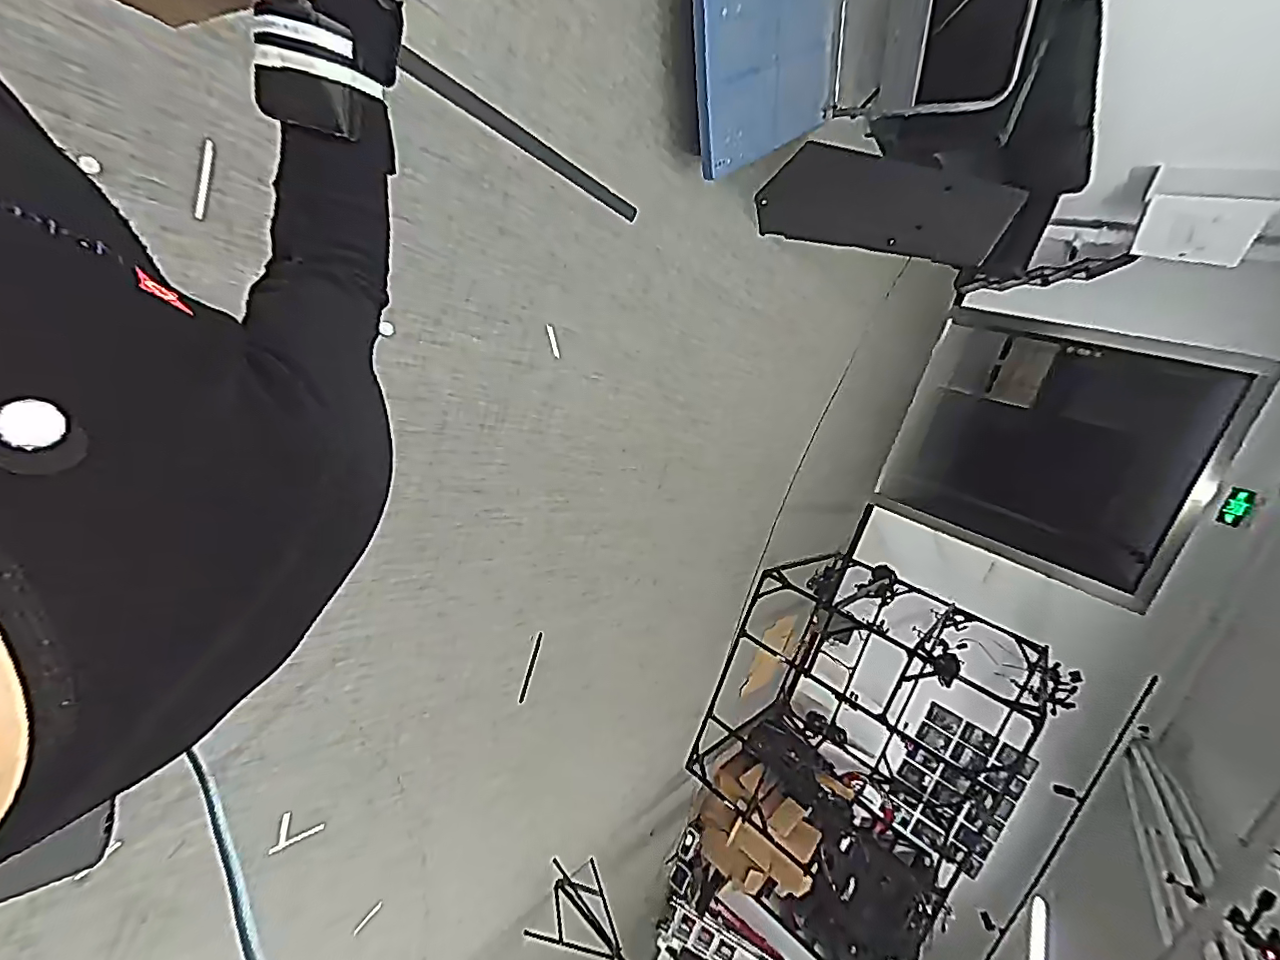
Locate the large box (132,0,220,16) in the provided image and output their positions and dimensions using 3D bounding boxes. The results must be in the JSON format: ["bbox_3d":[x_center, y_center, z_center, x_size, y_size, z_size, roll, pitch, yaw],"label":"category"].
[{"bbox_3d":[-0.393,-0.493,0.216,0.408,0.320,0.320,-3,116,-53],"label":"large box"}]
